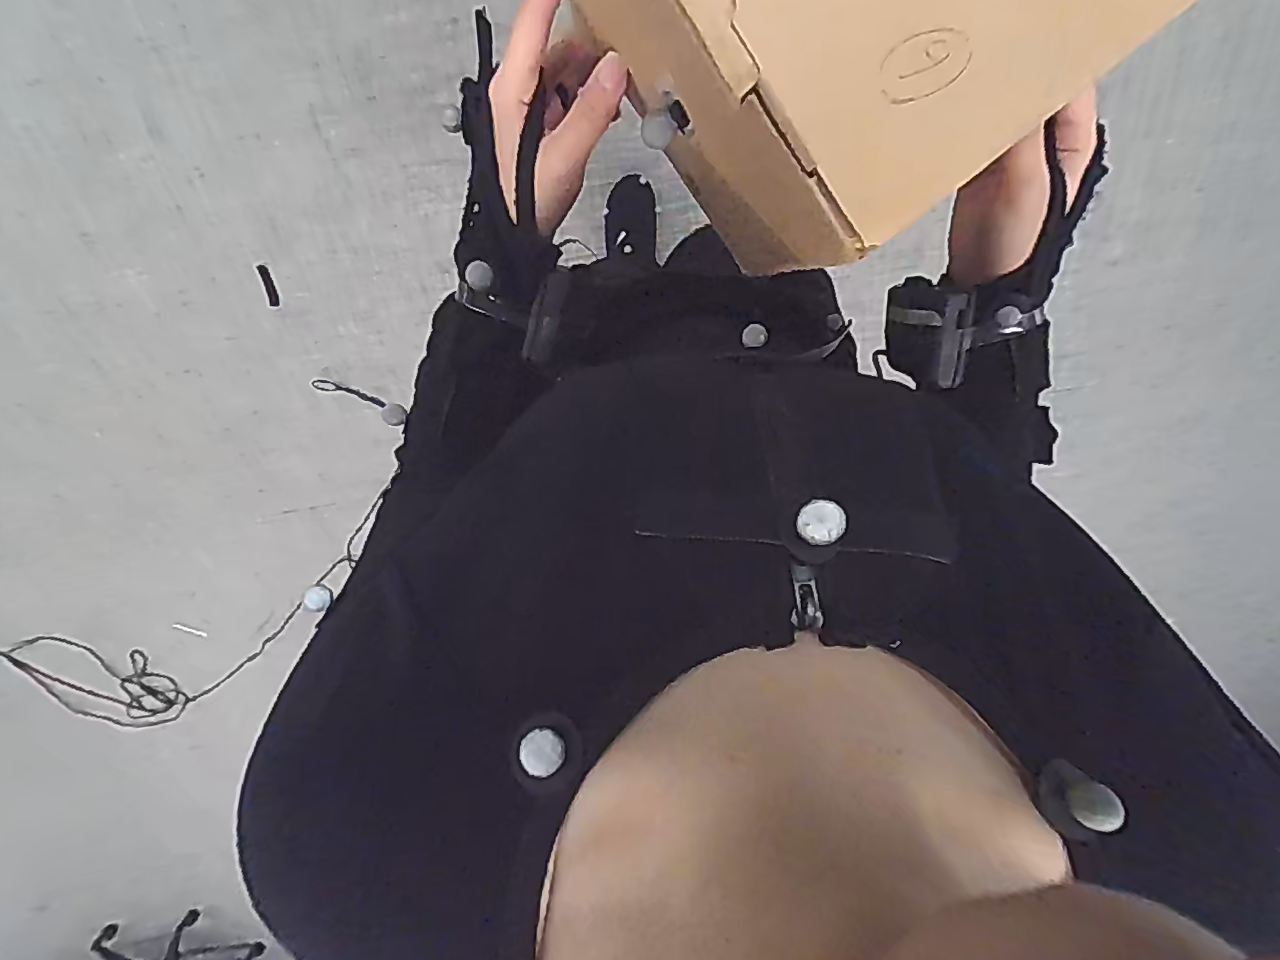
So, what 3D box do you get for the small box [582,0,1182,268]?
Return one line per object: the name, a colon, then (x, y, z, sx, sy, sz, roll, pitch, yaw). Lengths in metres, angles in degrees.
small box: (0.081, -0.204, 0.210, 0.179, 0.176, 0.168, -37, 105, 12)
